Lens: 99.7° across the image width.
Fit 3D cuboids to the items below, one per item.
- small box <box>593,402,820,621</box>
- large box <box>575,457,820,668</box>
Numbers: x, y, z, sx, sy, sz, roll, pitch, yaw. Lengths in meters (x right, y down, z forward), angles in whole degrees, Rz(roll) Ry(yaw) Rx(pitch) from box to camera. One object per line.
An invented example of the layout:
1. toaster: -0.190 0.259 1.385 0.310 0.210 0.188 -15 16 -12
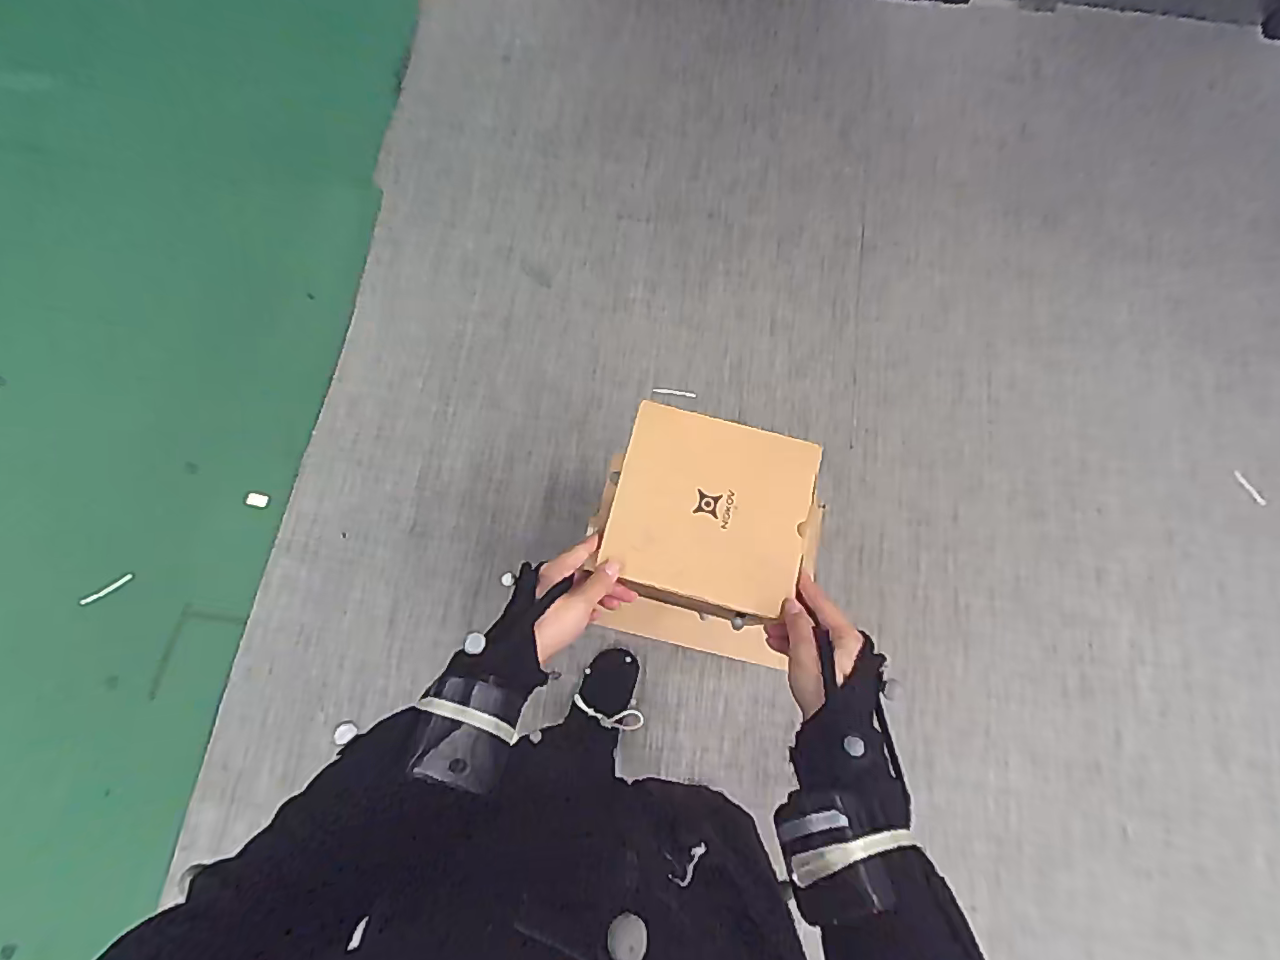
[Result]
1. small box: 0.059 0.045 0.554 0.179 0.176 0.168 14 74 1
2. large box: 0.104 0.177 1.112 0.408 0.320 0.320 13 76 1
